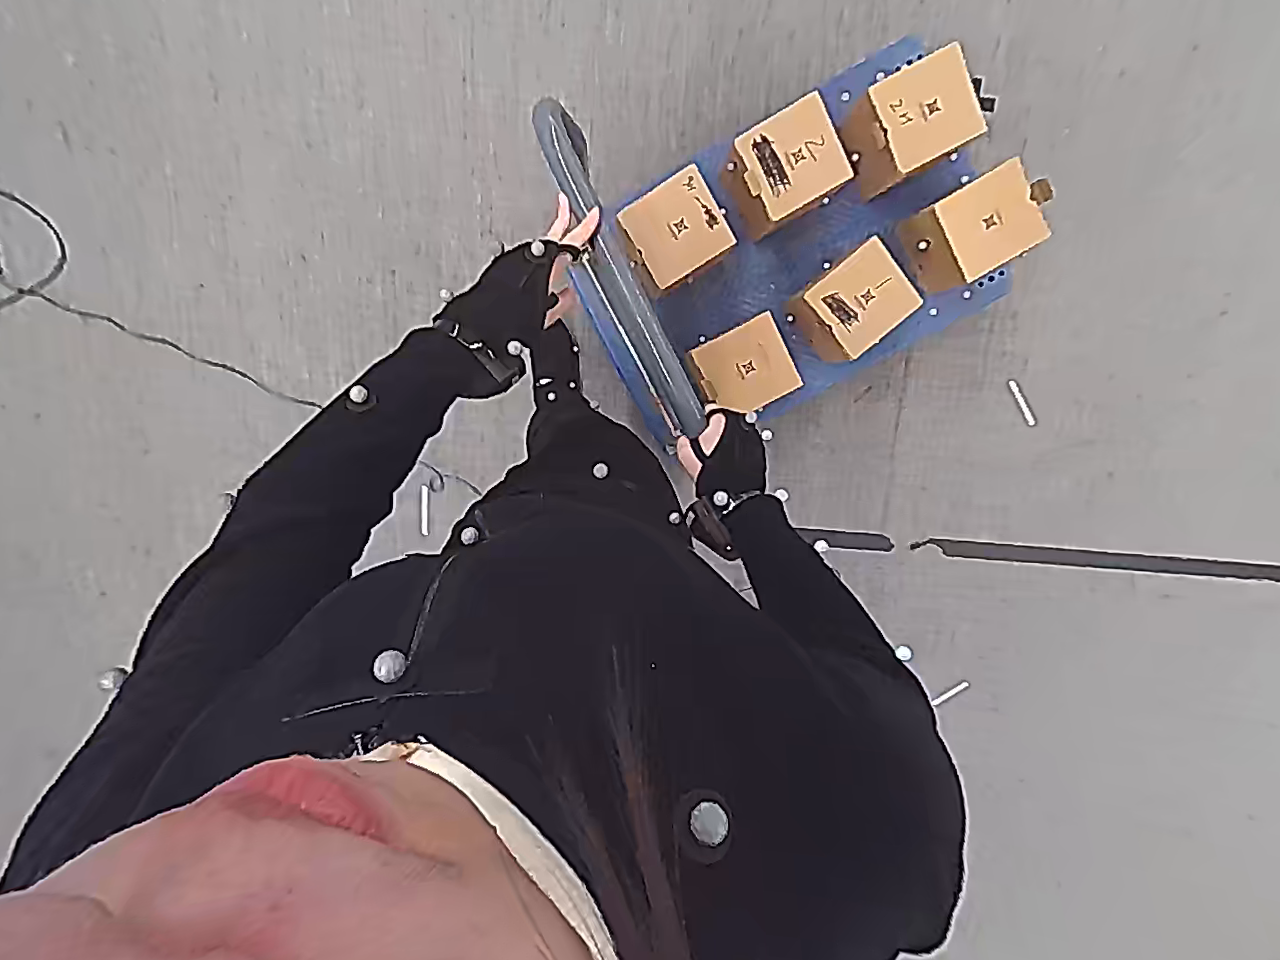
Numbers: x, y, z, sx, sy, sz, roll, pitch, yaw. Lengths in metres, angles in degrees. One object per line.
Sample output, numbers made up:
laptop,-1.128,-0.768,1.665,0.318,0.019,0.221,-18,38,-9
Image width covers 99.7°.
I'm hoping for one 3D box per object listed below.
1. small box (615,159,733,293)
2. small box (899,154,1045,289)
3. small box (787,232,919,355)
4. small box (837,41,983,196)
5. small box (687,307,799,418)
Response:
small box,0.067,-0.503,1.105,0.179,0.176,0.168,-31,101,6
small box,0.665,-0.516,1.111,0.179,0.176,0.168,-30,100,5
small box,0.432,-0.377,1.136,0.179,0.176,0.168,-39,99,6
small box,0.524,-0.700,1.070,0.179,0.176,0.168,-26,100,5
small box,0.210,-0.247,1.160,0.179,0.176,0.168,-27,101,4
